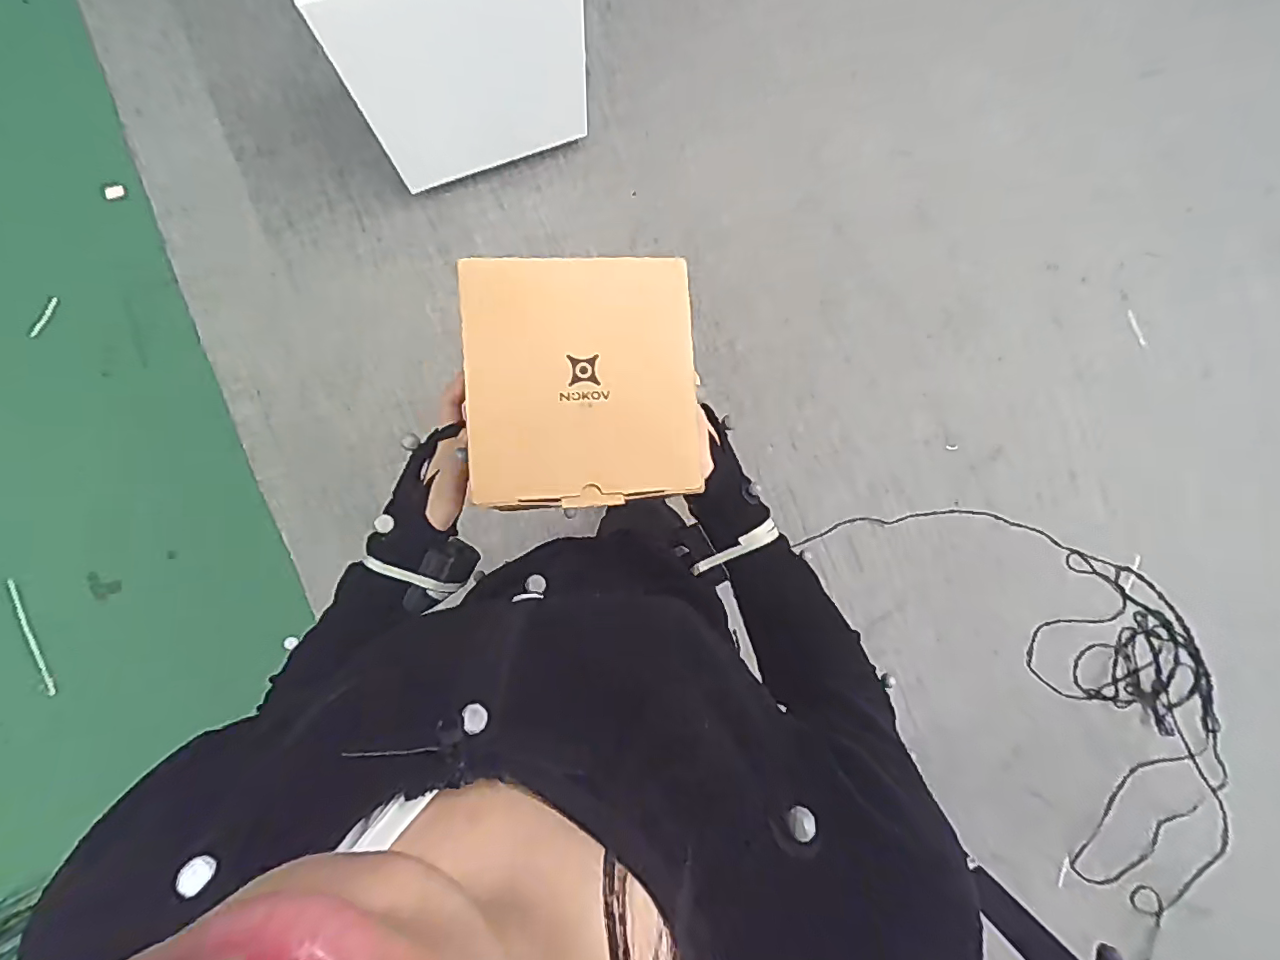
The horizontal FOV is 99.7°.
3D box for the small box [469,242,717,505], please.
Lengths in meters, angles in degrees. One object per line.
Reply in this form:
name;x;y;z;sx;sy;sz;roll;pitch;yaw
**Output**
small box;-0.045;-0.073;0.451;0.168;0.176;0.179;-4;87;-10
